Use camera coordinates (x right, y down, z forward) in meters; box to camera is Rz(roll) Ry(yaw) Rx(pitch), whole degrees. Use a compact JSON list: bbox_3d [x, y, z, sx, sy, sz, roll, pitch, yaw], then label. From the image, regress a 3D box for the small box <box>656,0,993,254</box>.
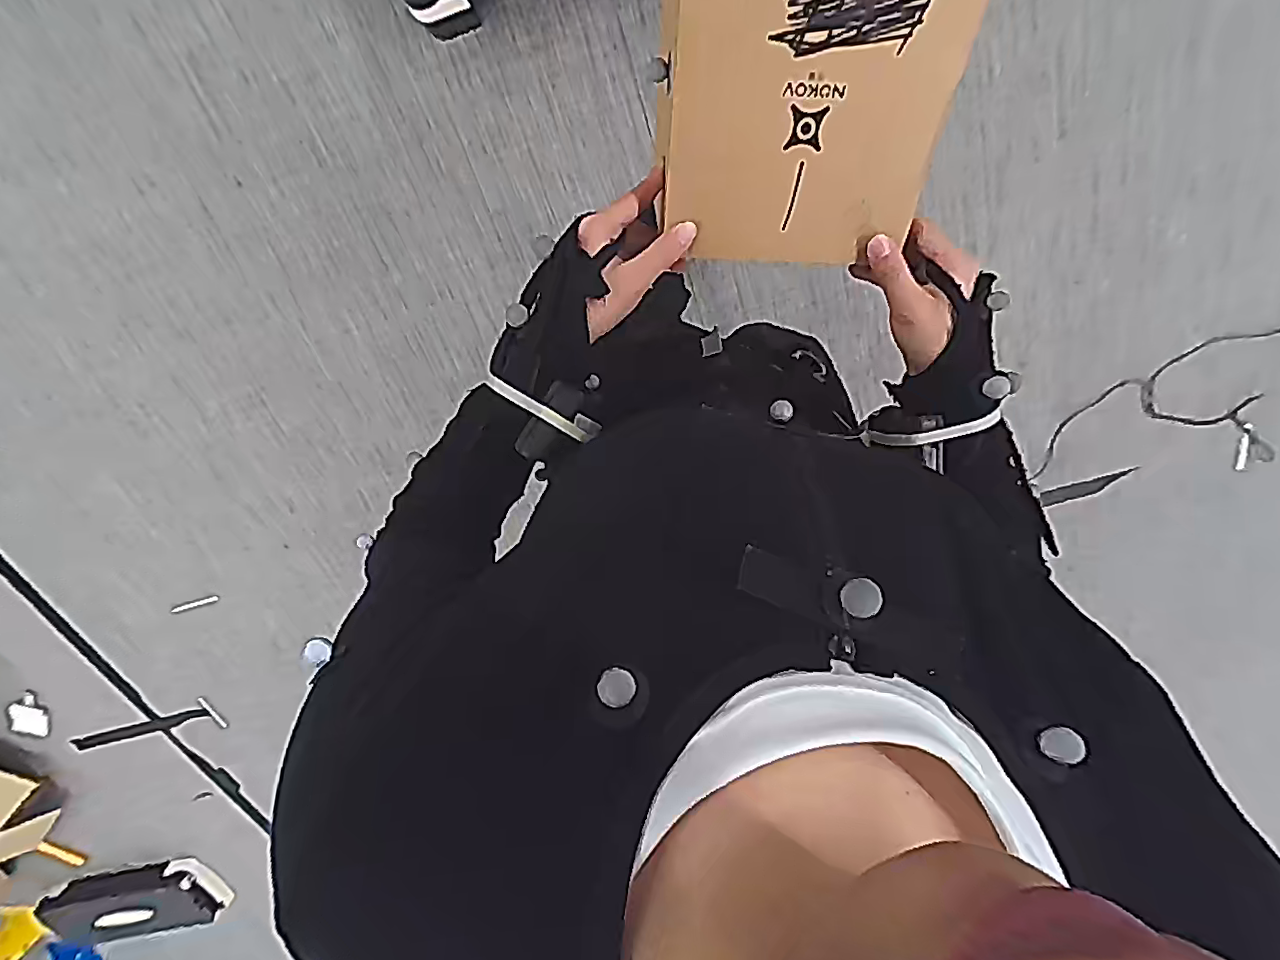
[{"bbox_3d":[0.100,-0.275,0.372,0.168,0.176,0.179,2,131,-3],"label":"small box"}]
